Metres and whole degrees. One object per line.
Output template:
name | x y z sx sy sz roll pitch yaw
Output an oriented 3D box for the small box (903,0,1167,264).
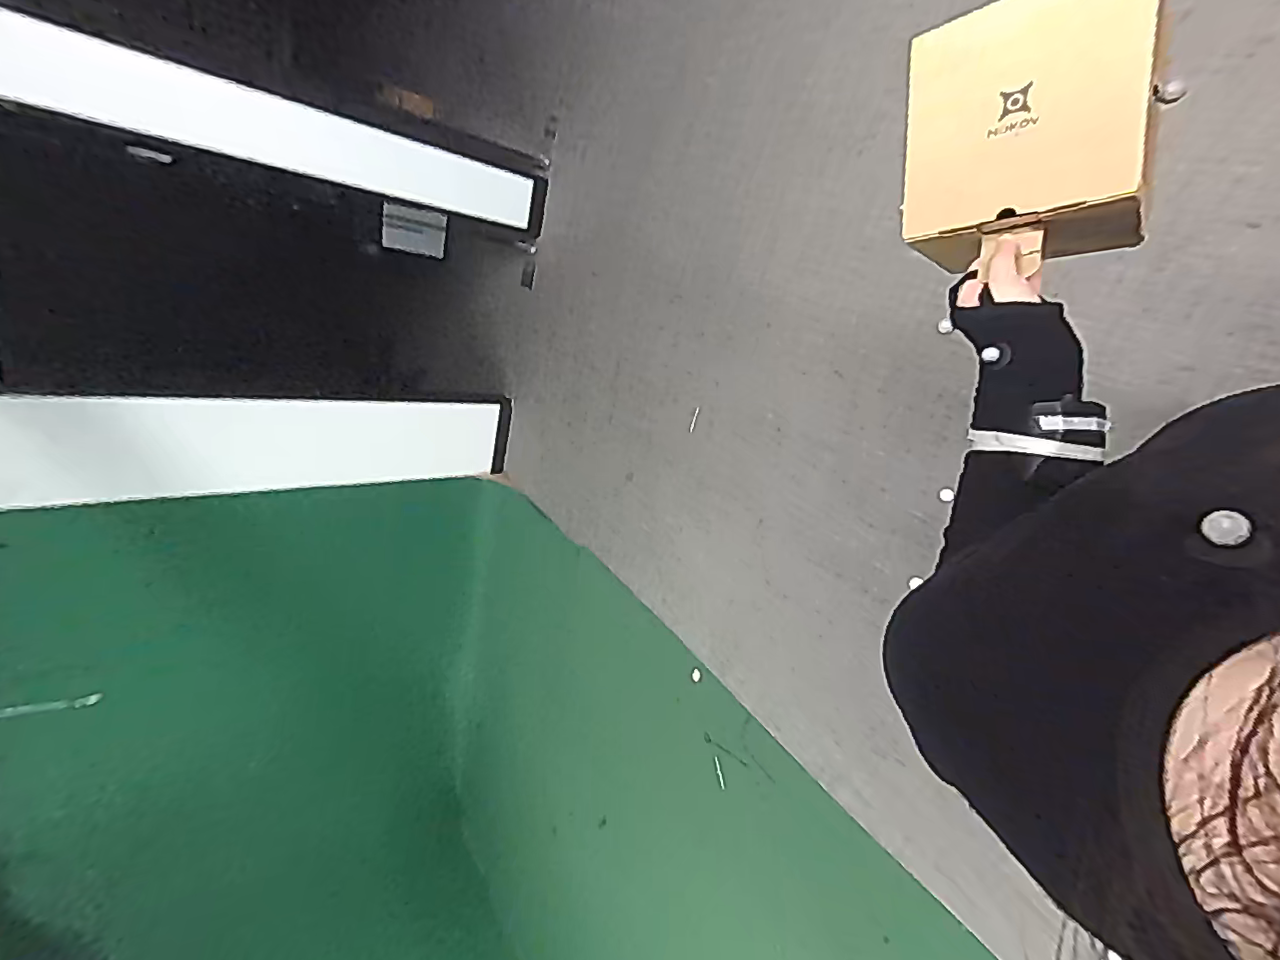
small box | 0.359 -0.315 0.497 0.168 0.176 0.179 7 102 42
